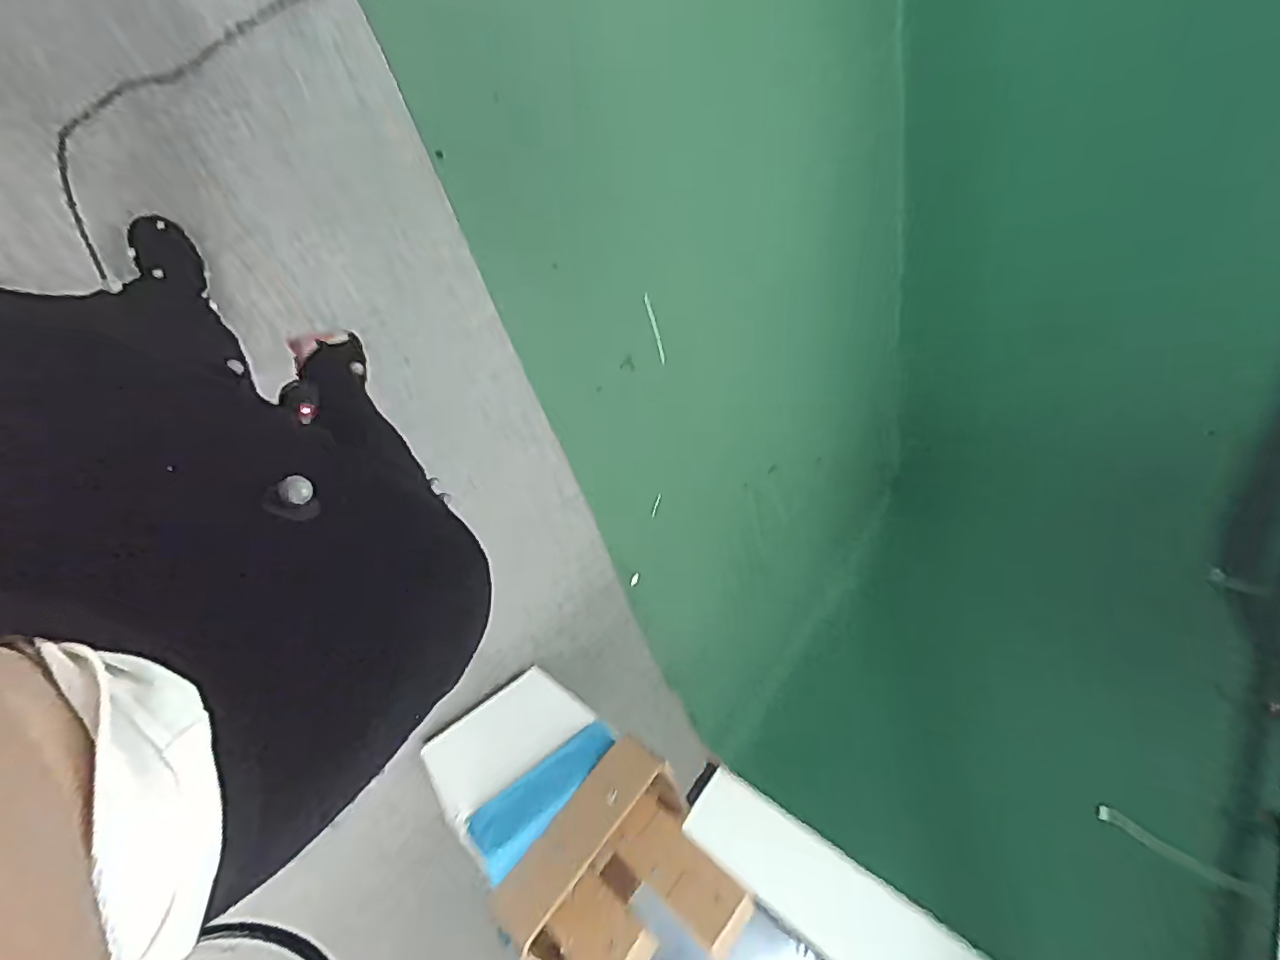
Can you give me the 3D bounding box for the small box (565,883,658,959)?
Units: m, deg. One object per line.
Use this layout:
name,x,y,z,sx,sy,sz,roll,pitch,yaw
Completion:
small box,-0.081,1.295,1.529,0.179,0.176,0.168,-45,134,-25

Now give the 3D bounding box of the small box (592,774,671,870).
small box,-0.029,1.107,1.761,0.179,0.176,0.168,-40,132,-26

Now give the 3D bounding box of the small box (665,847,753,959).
small box,0.198,1.202,1.543,0.179,0.176,0.168,-38,130,-27

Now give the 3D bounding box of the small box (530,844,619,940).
small box,-0.199,1.252,1.633,0.179,0.176,0.168,-45,134,-27
